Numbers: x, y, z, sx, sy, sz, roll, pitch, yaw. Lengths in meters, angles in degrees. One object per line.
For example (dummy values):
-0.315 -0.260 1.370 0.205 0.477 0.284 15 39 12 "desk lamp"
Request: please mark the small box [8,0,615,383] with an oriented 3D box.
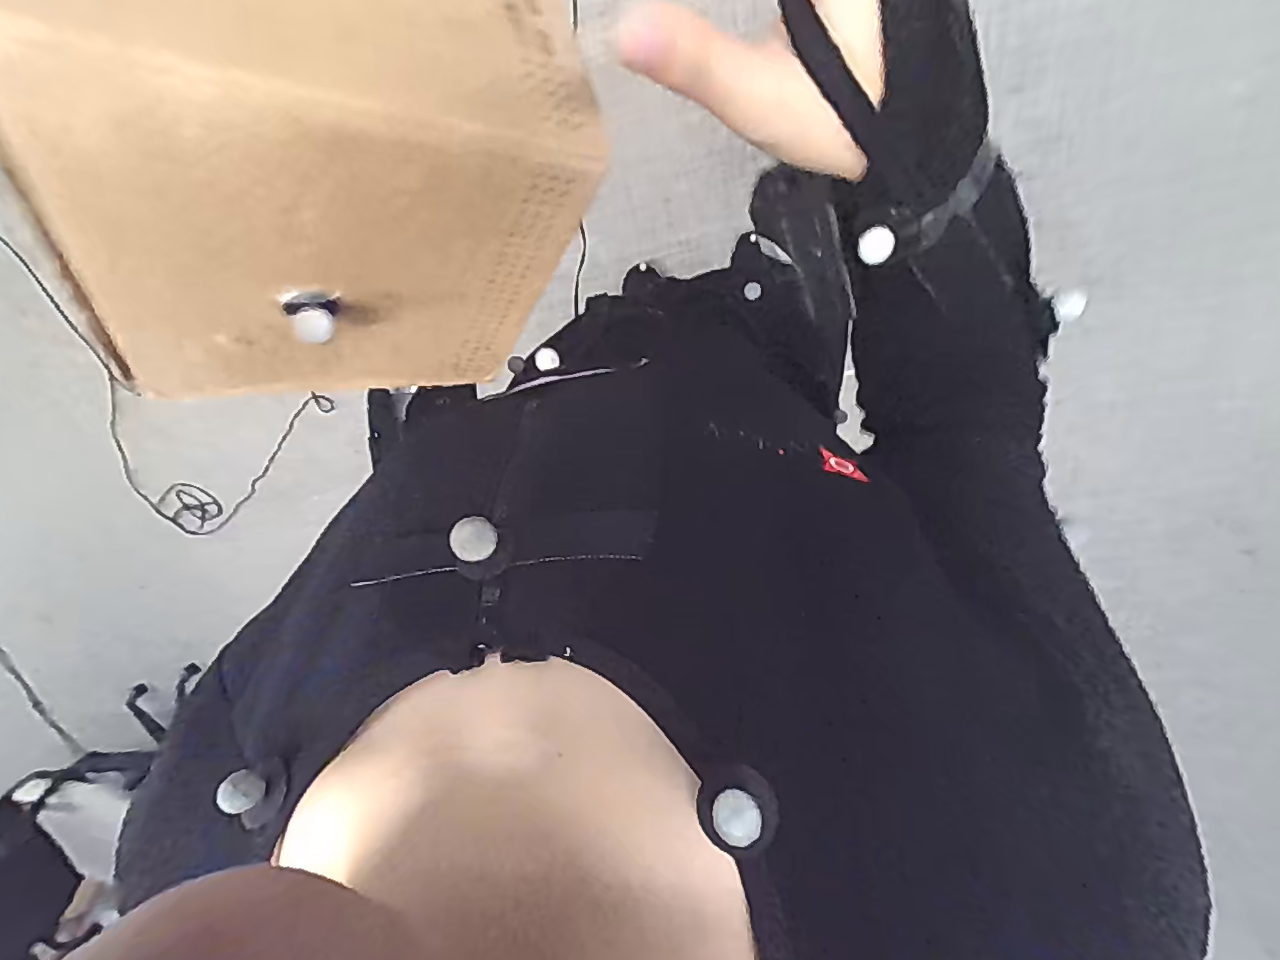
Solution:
-0.135 -0.160 0.250 0.179 0.176 0.168 -37 69 53 "small box"
